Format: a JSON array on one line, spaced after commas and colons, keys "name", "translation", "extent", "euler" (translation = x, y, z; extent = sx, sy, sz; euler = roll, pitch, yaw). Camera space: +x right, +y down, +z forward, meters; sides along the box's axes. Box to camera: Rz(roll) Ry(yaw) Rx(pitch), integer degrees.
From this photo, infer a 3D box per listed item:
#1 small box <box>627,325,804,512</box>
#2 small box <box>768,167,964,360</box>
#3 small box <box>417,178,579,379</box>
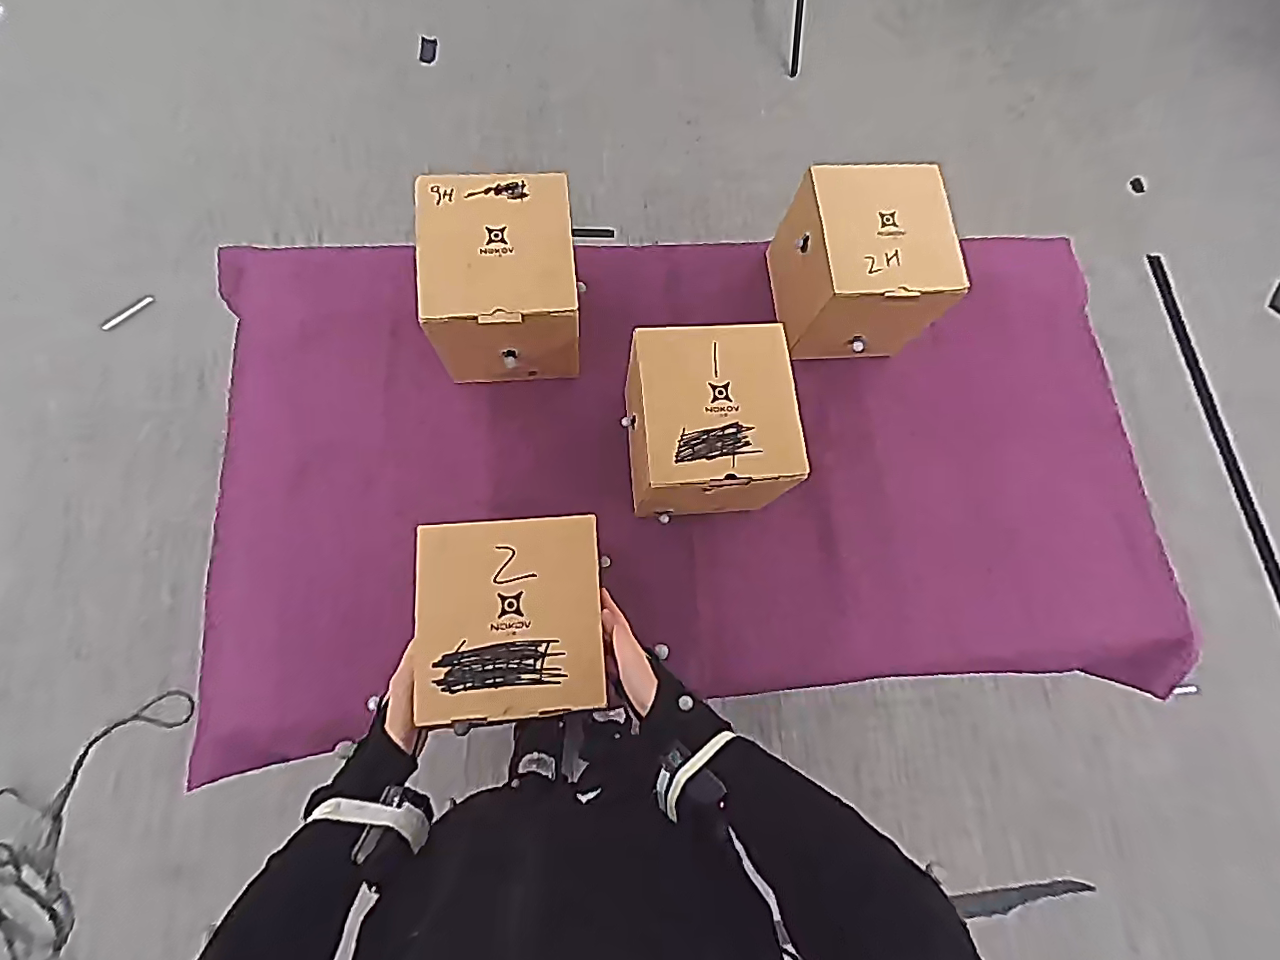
[{"name": "small box", "translation": [0.075, -0.061, 0.640], "extent": [0.168, 0.176, 0.179], "euler": [-4, 75, -6]}, {"name": "small box", "translation": [0.280, -0.277, 0.713], "extent": [0.168, 0.176, 0.179], "euler": [-4, 77, -6]}, {"name": "small box", "translation": [-0.162, -0.232, 0.660], "extent": [0.168, 0.176, 0.179], "euler": [-5, 78, -7]}]
